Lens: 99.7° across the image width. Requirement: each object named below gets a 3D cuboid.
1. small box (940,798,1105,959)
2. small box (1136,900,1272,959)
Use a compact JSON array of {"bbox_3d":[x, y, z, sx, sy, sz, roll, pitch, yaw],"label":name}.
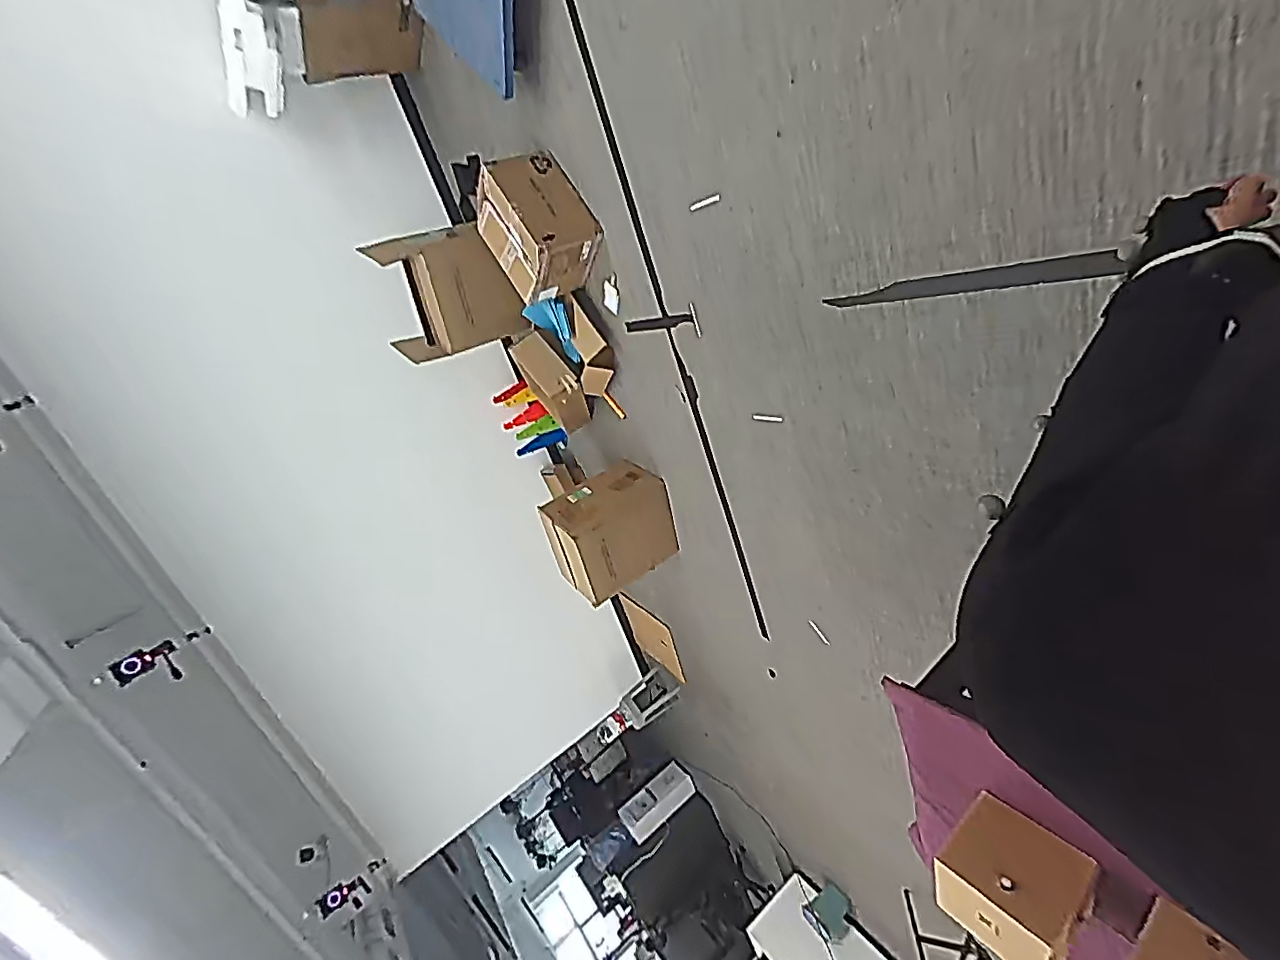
[{"bbox_3d":[0.642,0.684,0.919,0.179,0.176,0.168,21,137,52],"label":"small box"},{"bbox_3d":[0.774,0.730,0.722,0.168,0.176,0.179,19,134,54],"label":"small box"}]
